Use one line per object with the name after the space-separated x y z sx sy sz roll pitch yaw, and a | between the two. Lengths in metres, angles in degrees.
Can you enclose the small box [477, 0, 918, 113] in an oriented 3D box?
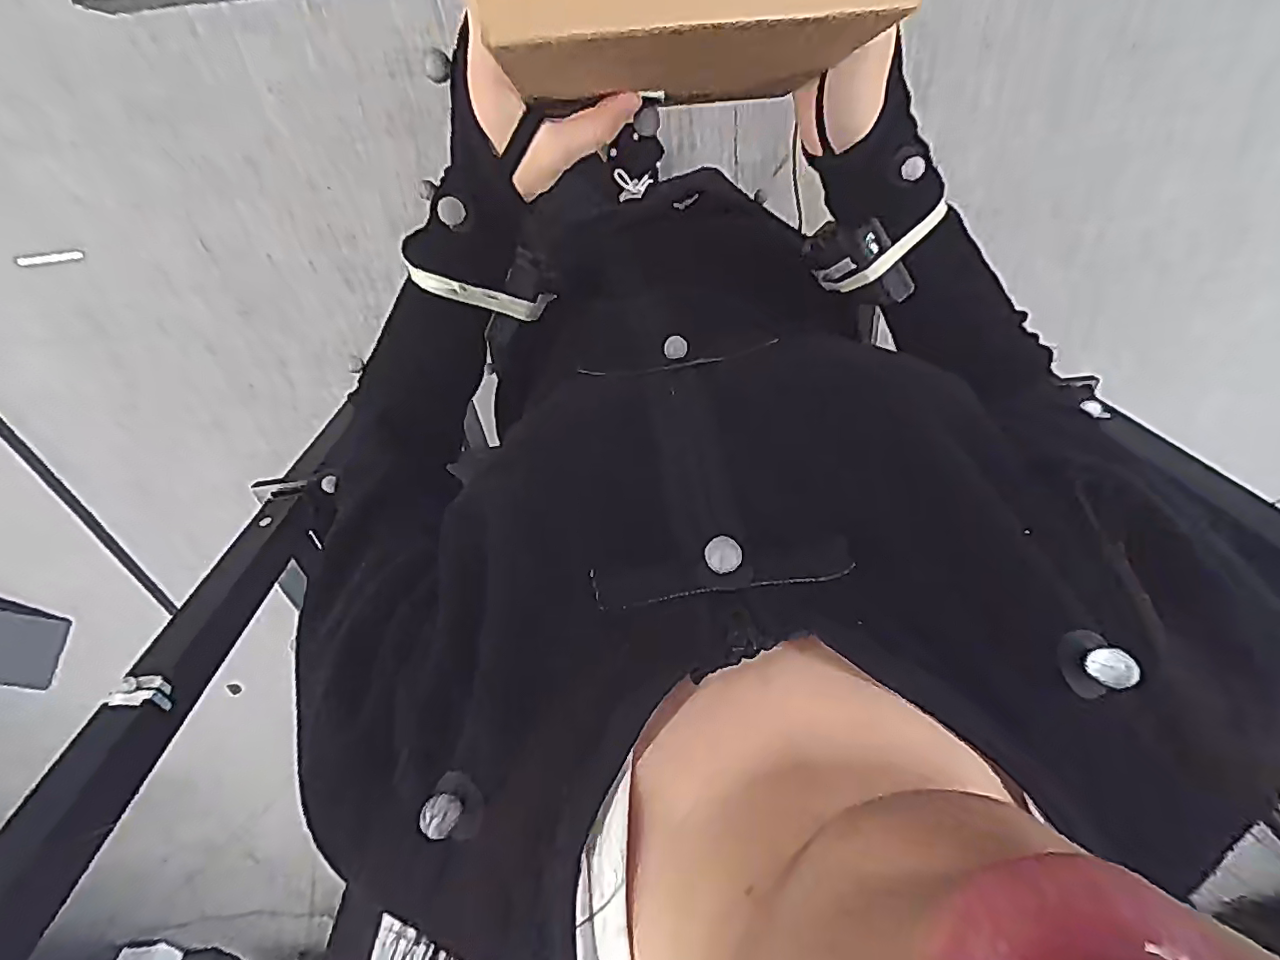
0.012 -0.280 0.233 0.168 0.176 0.179 -5 117 -2 | small box
